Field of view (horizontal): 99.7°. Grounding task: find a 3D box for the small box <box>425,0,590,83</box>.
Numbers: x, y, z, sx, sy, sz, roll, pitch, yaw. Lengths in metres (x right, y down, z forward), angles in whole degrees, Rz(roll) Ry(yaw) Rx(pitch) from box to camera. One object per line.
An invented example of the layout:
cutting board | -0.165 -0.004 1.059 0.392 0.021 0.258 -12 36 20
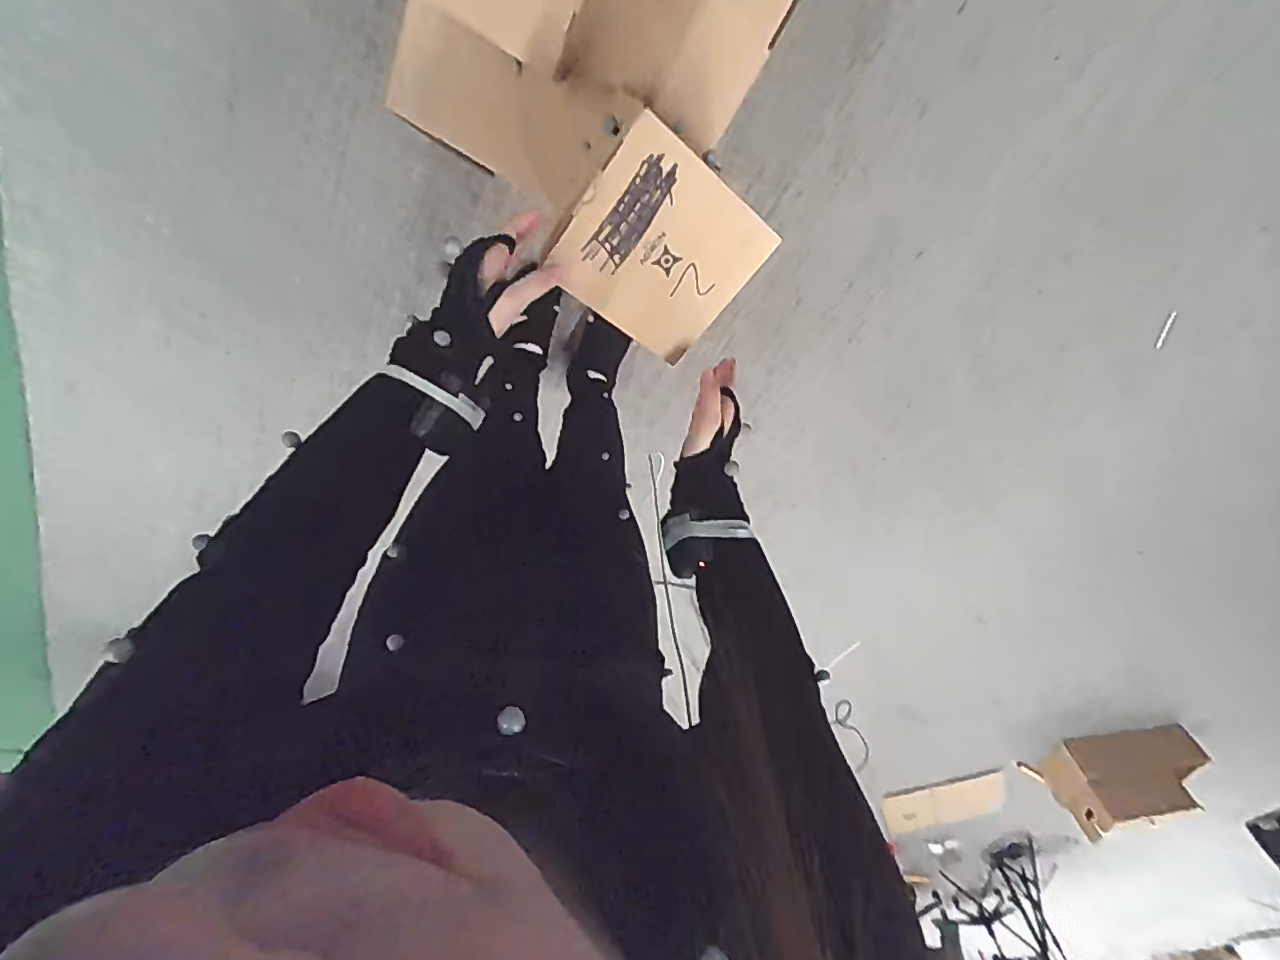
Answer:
small box | -0.132 -0.550 0.559 0.179 0.176 0.168 21 120 -20

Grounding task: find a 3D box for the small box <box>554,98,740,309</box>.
small box | -0.003 -0.366 0.711 0.168 0.176 0.179 25 120 -24
